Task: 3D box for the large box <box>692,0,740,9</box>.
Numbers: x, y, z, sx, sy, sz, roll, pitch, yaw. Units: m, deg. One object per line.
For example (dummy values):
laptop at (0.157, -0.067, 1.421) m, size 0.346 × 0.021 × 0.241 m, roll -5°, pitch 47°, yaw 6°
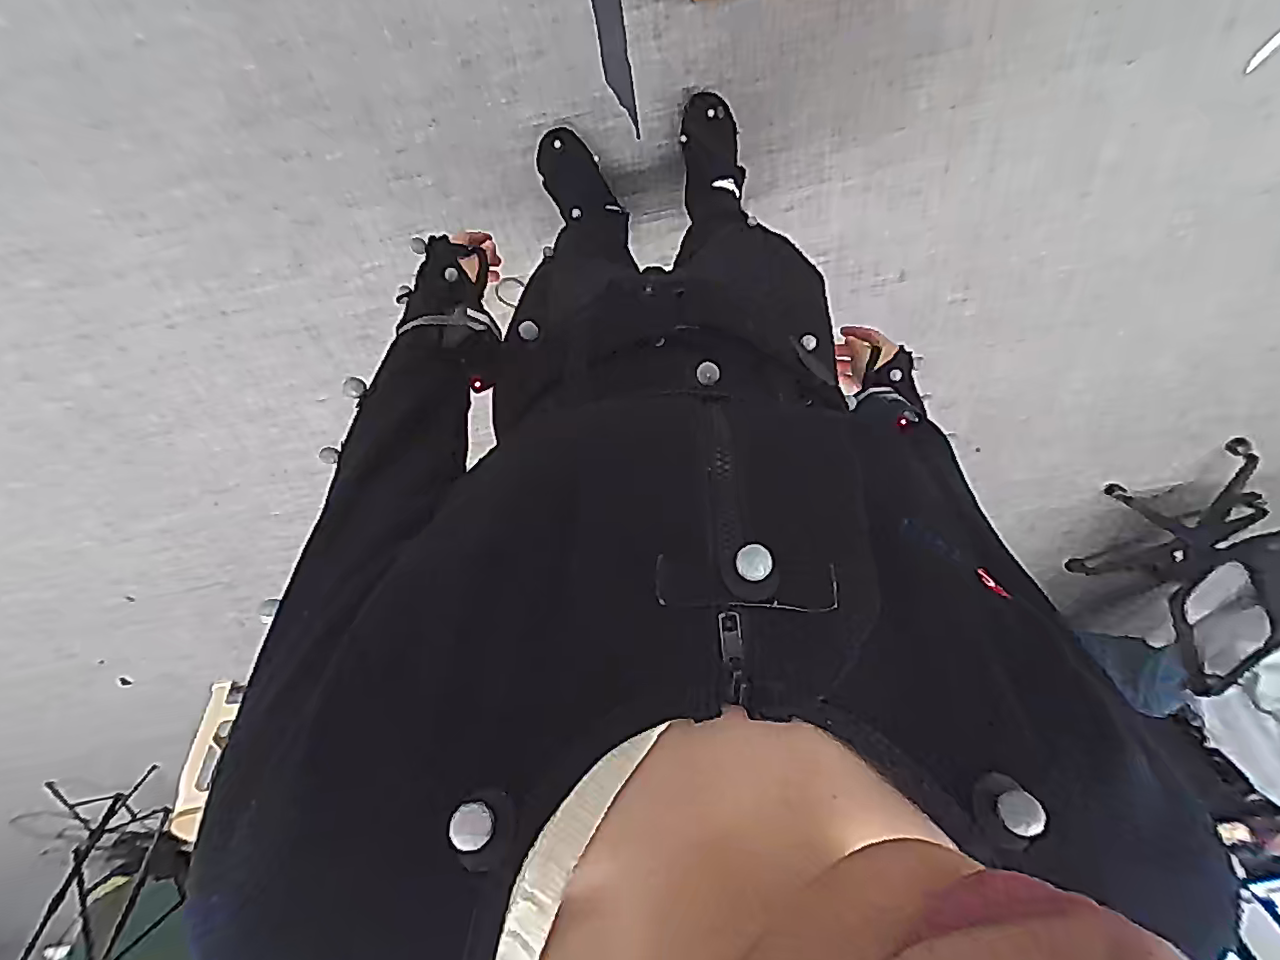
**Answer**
large box at (0.269, -0.888, 0.727) m, size 0.408 × 0.320 × 0.320 m, roll -13°, pitch 131°, yaw 1°
